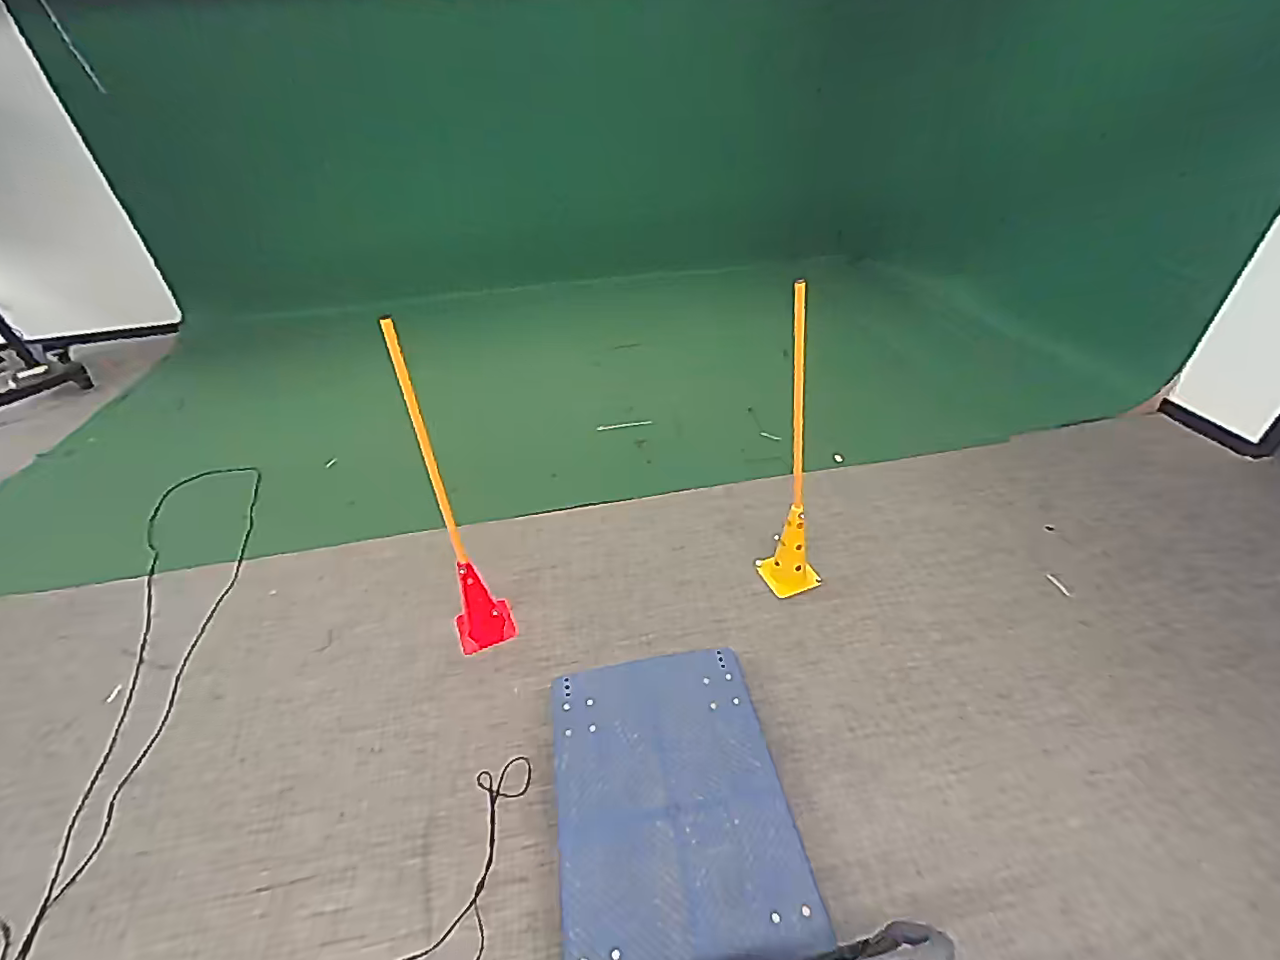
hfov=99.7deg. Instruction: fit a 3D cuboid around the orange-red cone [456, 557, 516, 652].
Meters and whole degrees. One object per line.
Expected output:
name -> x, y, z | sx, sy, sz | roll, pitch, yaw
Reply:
orange-red cone -> -0.589, 0.408, 1.920 | 0.199, 0.360, 0.198 | -19, 40, -17
